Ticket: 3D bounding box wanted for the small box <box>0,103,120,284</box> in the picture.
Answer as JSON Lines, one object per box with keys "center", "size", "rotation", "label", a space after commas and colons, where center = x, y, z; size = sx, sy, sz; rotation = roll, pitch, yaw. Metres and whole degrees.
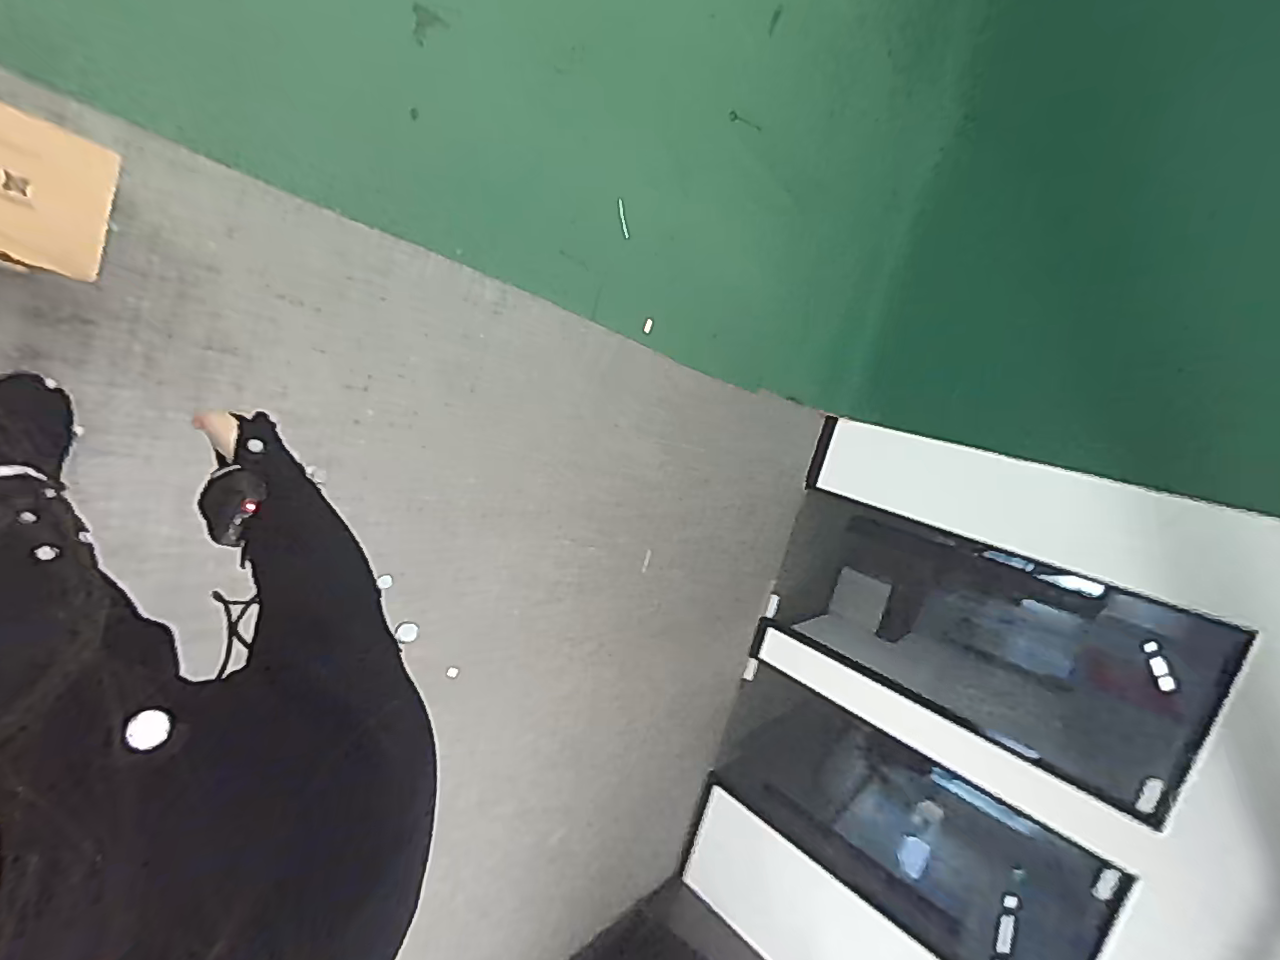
{"center": [-0.805, -0.374, 0.692], "size": [0.168, 0.176, 0.179], "rotation": [9, 100, -53], "label": "small box"}
